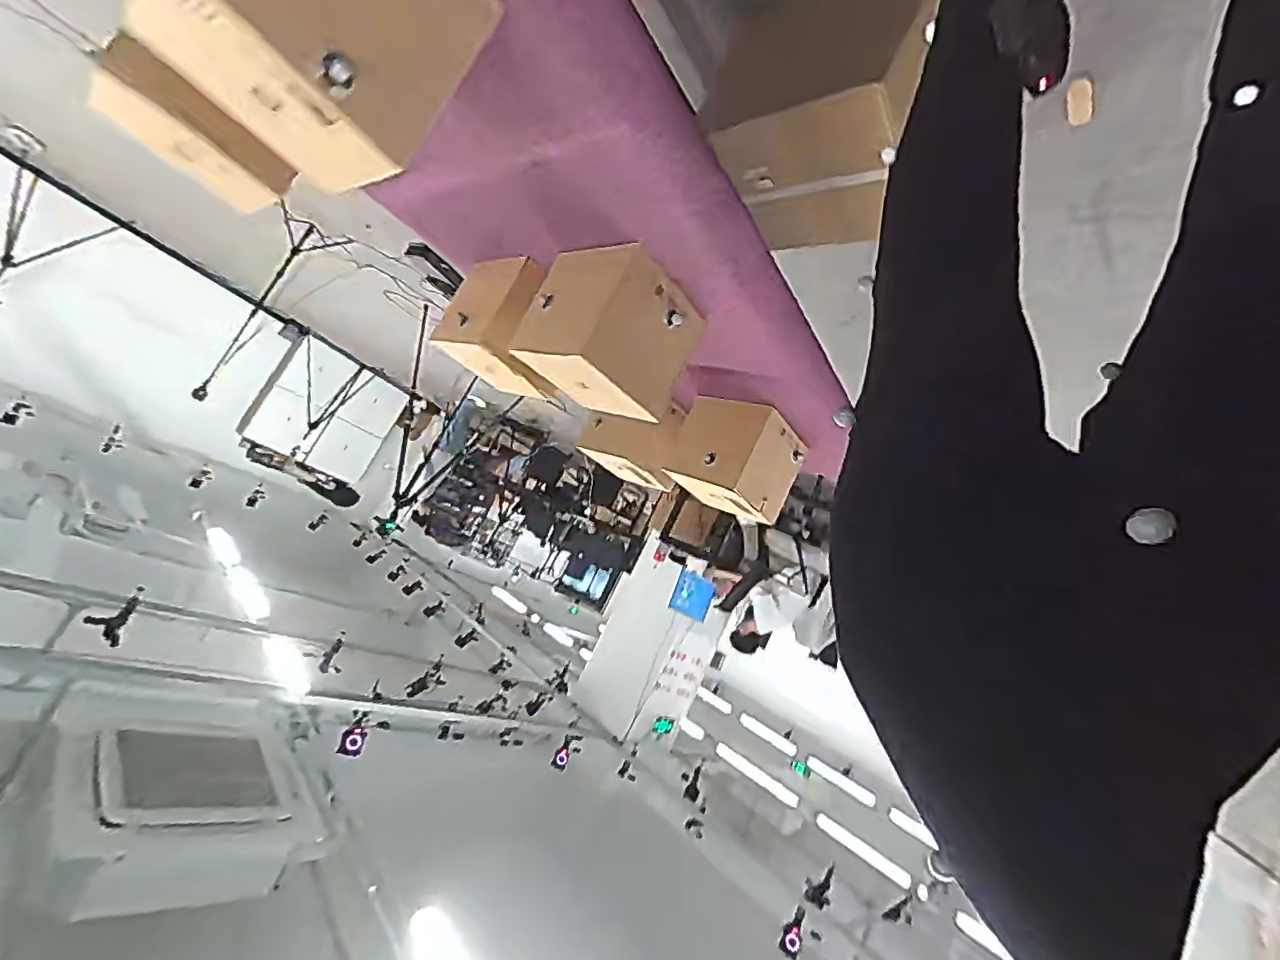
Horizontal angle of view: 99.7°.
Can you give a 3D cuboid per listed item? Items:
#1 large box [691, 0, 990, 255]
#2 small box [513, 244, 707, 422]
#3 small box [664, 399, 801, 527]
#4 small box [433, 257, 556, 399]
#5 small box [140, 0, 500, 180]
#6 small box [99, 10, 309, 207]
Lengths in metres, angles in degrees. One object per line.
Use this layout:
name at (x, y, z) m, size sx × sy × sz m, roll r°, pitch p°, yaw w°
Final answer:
large box at (0.386, -0.684, 1.053) m, size 0.408 × 0.320 × 0.320 m, roll 19°, pitch 166°, yaw 46°
small box at (-0.038, -0.206, 0.762) m, size 0.179 × 0.176 × 0.168 m, roll 18°, pitch 167°, yaw 45°
small box at (0.184, -0.037, 1.025) m, size 0.179 × 0.176 × 0.168 m, roll 19°, pitch 167°, yaw 45°
small box at (-0.217, -0.265, 0.943) m, size 0.179 × 0.176 × 0.168 m, roll 17°, pitch 165°, yaw 43°
small box at (-0.242, -0.374, 0.426) m, size 0.179 × 0.176 × 0.168 m, roll 22°, pitch 171°, yaw 42°
small box at (-0.472, -0.454, 0.627) m, size 0.179 × 0.176 × 0.168 m, roll 17°, pitch 168°, yaw 41°
